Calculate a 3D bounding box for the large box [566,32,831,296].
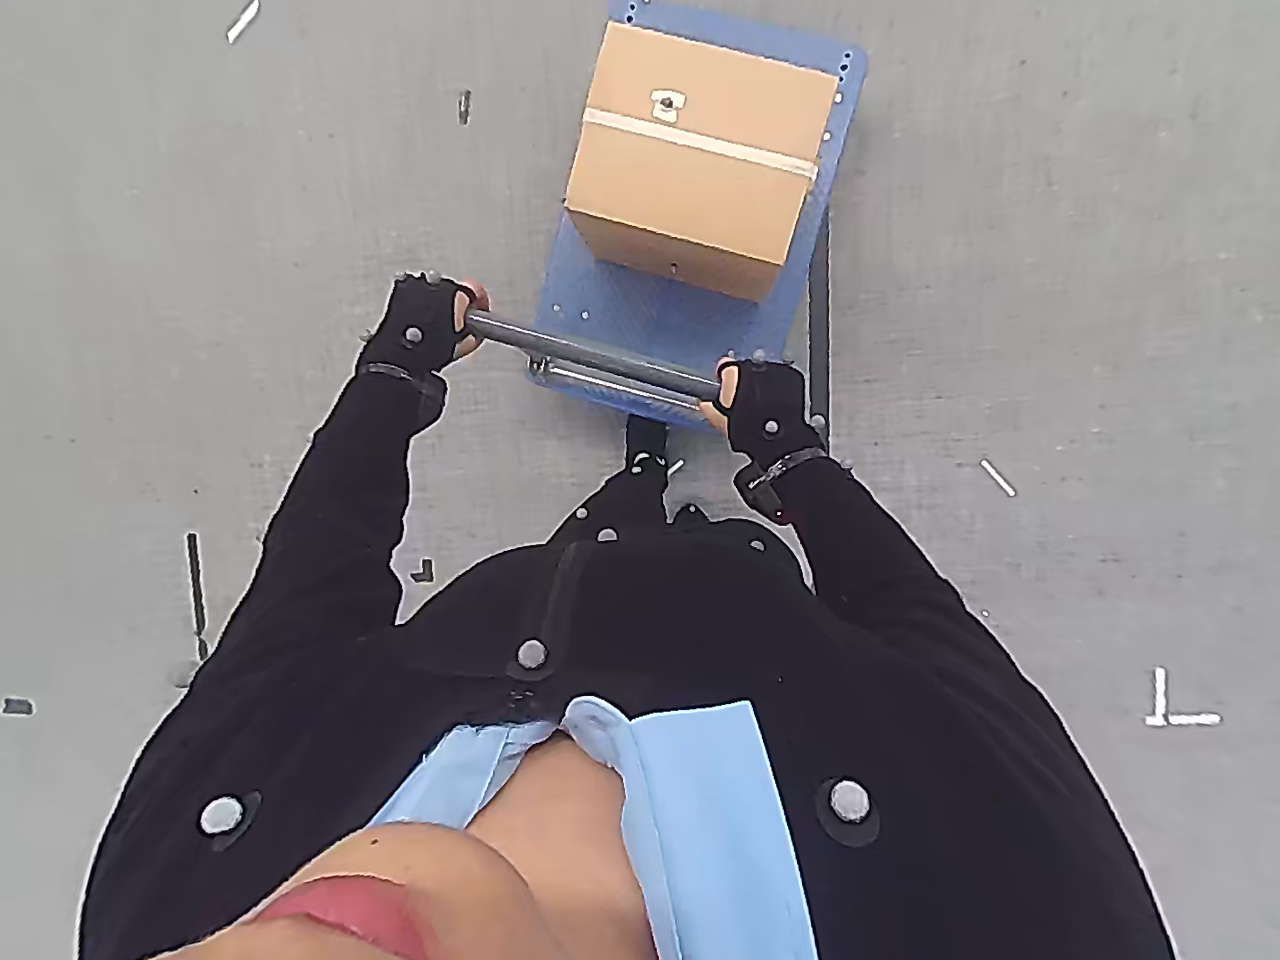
[{"bbox_3d":[0.112,-0.596,1.087,0.408,0.320,0.320,16,96,4],"label":"large box"}]
